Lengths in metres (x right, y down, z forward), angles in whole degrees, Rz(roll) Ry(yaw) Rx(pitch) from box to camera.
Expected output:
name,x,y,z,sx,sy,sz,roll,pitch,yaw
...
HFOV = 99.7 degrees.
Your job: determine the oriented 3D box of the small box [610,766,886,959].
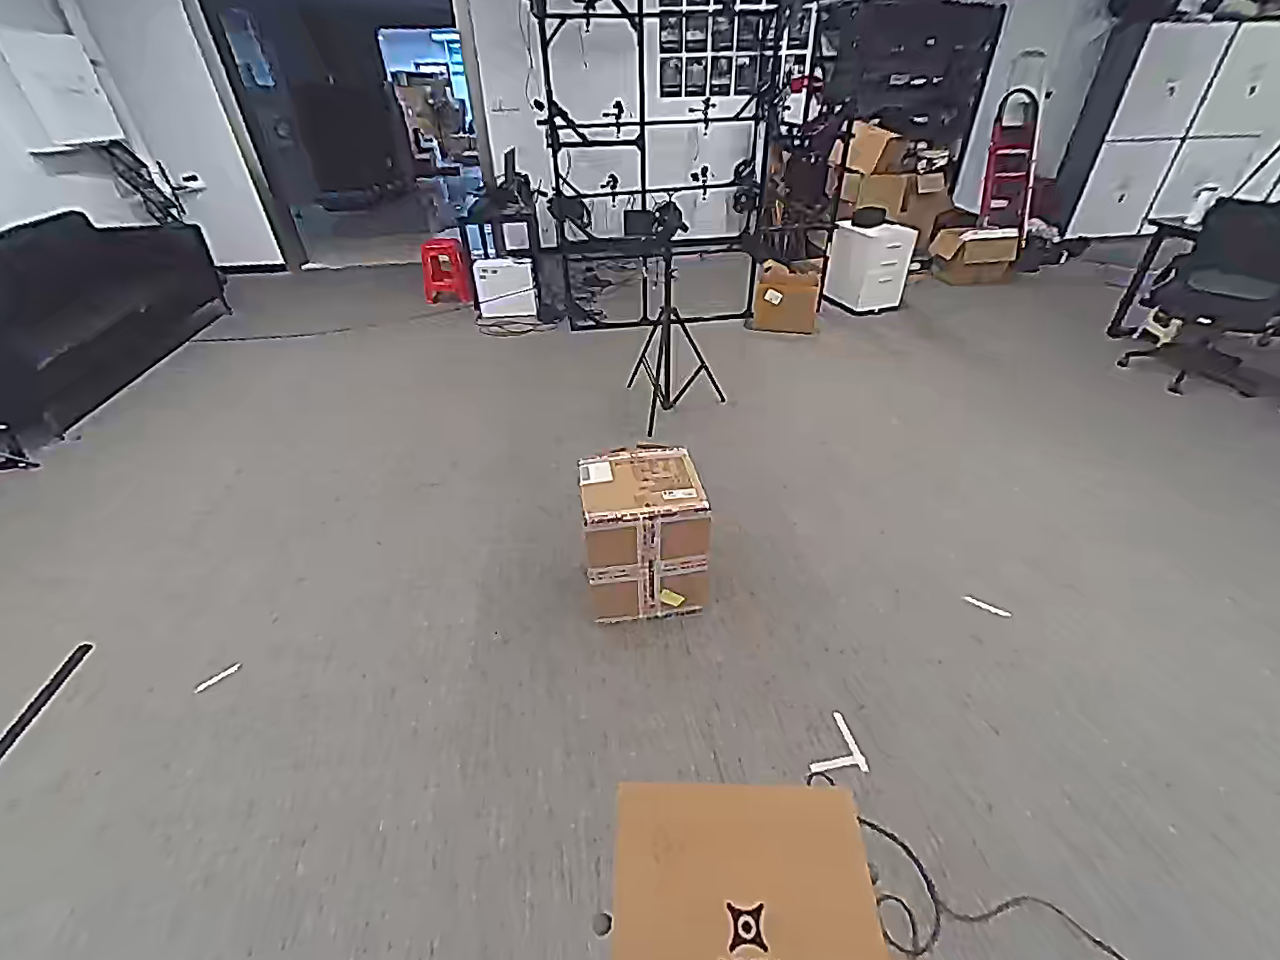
name,x,y,z,sx,sy,sz,roll,pitch,yaw
small box,0.066,0.327,0.388,0.168,0.176,0.179,0,46,3
